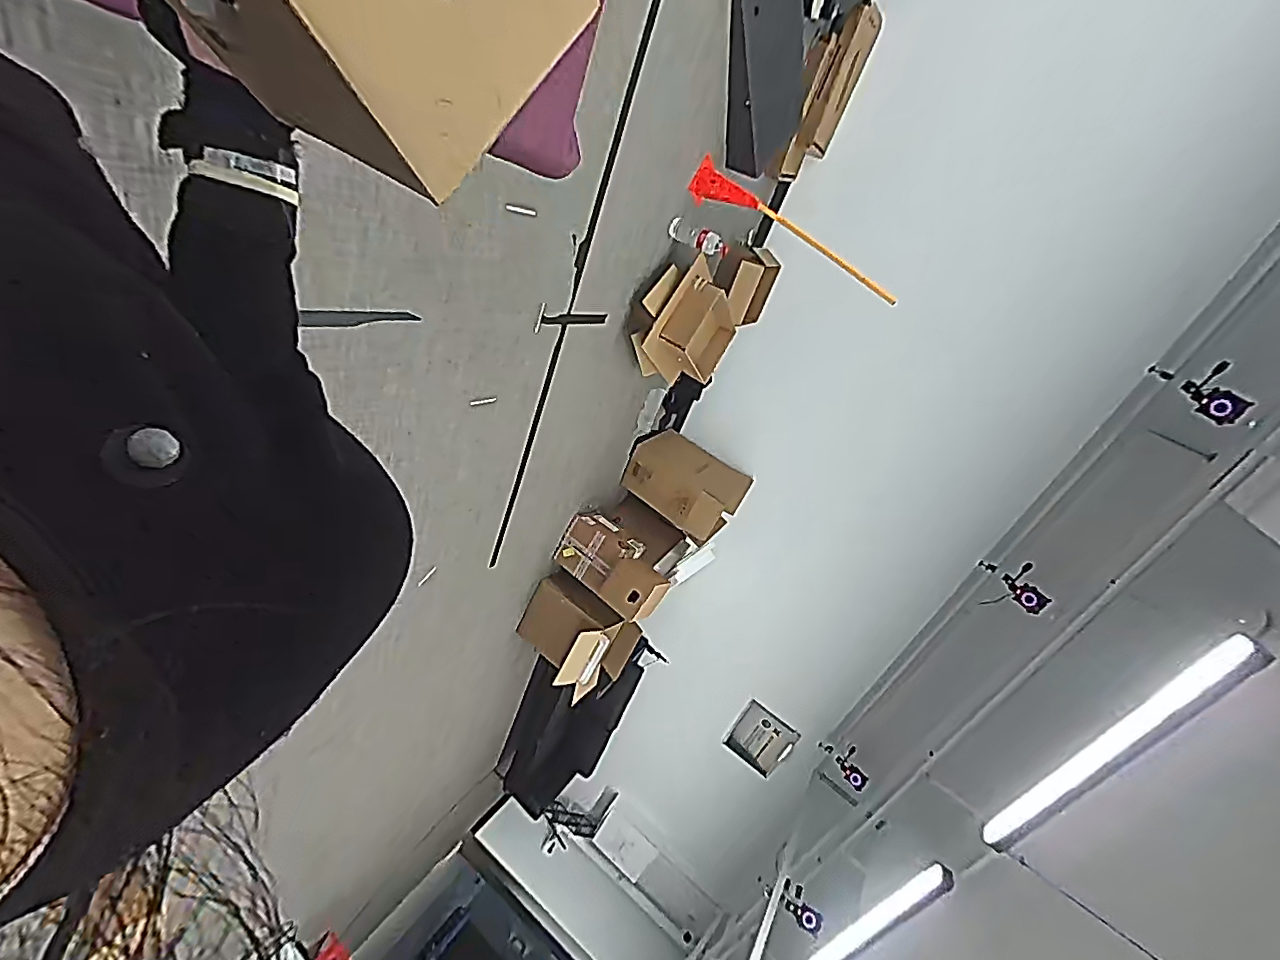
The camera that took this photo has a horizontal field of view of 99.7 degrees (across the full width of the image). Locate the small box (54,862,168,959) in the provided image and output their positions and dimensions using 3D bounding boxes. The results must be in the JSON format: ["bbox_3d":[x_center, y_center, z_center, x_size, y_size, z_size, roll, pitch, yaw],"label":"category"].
[{"bbox_3d":[-1.370,1.145,1.401,0.168,0.176,0.179,-22,141,-60],"label":"small box"}]

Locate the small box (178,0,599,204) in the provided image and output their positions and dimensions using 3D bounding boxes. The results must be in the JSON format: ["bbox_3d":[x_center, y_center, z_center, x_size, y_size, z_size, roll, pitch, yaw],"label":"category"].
[{"bbox_3d":[-0.155,-0.299,0.291,0.179,0.176,0.168,-57,162,-6],"label":"small box"}]
